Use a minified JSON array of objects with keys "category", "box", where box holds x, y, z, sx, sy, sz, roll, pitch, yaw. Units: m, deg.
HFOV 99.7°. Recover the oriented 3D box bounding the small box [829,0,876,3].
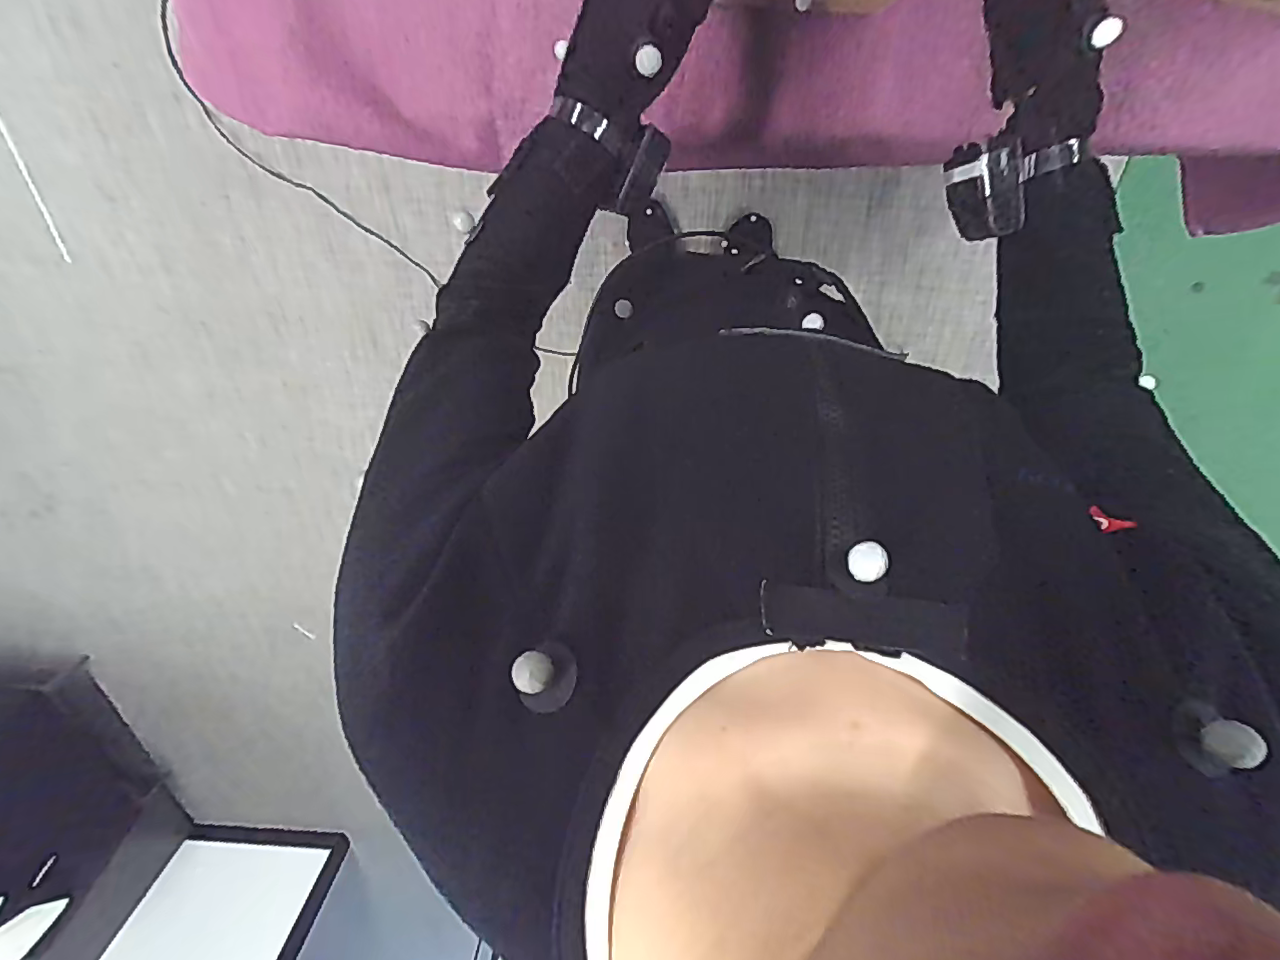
[{"category":"small box","box":[0.142,-0.476,0.390,0.168,0.176,0.179,4,121,1]}]
